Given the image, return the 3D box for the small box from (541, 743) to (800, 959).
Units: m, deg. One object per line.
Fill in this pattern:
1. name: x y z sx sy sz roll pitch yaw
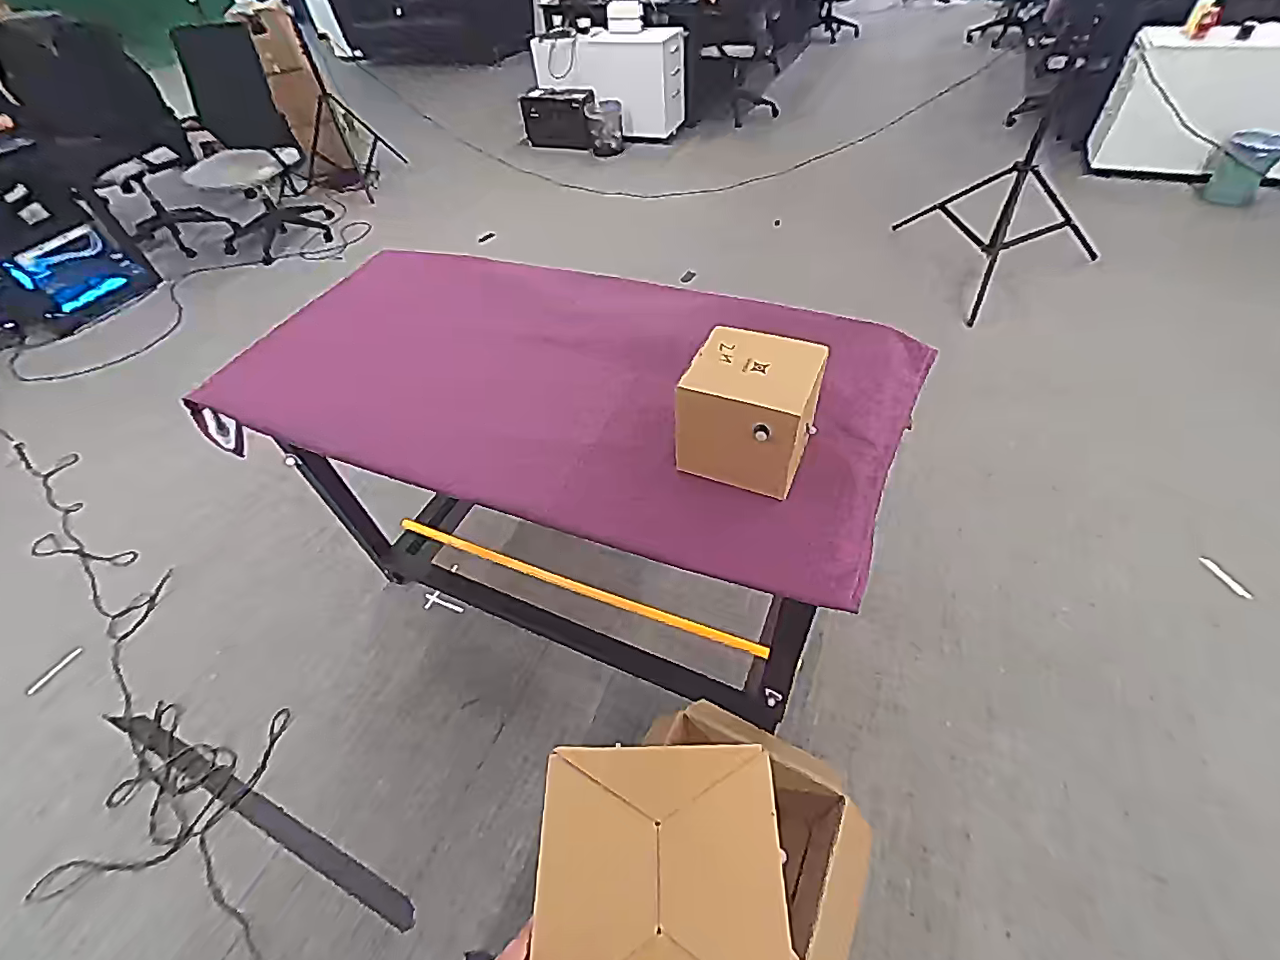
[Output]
1. small box: 0.021 0.324 0.446 0.179 0.176 0.168 -3 52 4

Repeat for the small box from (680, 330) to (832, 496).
1. small box: 0.172 -0.099 0.825 0.179 0.176 0.168 17 50 19
